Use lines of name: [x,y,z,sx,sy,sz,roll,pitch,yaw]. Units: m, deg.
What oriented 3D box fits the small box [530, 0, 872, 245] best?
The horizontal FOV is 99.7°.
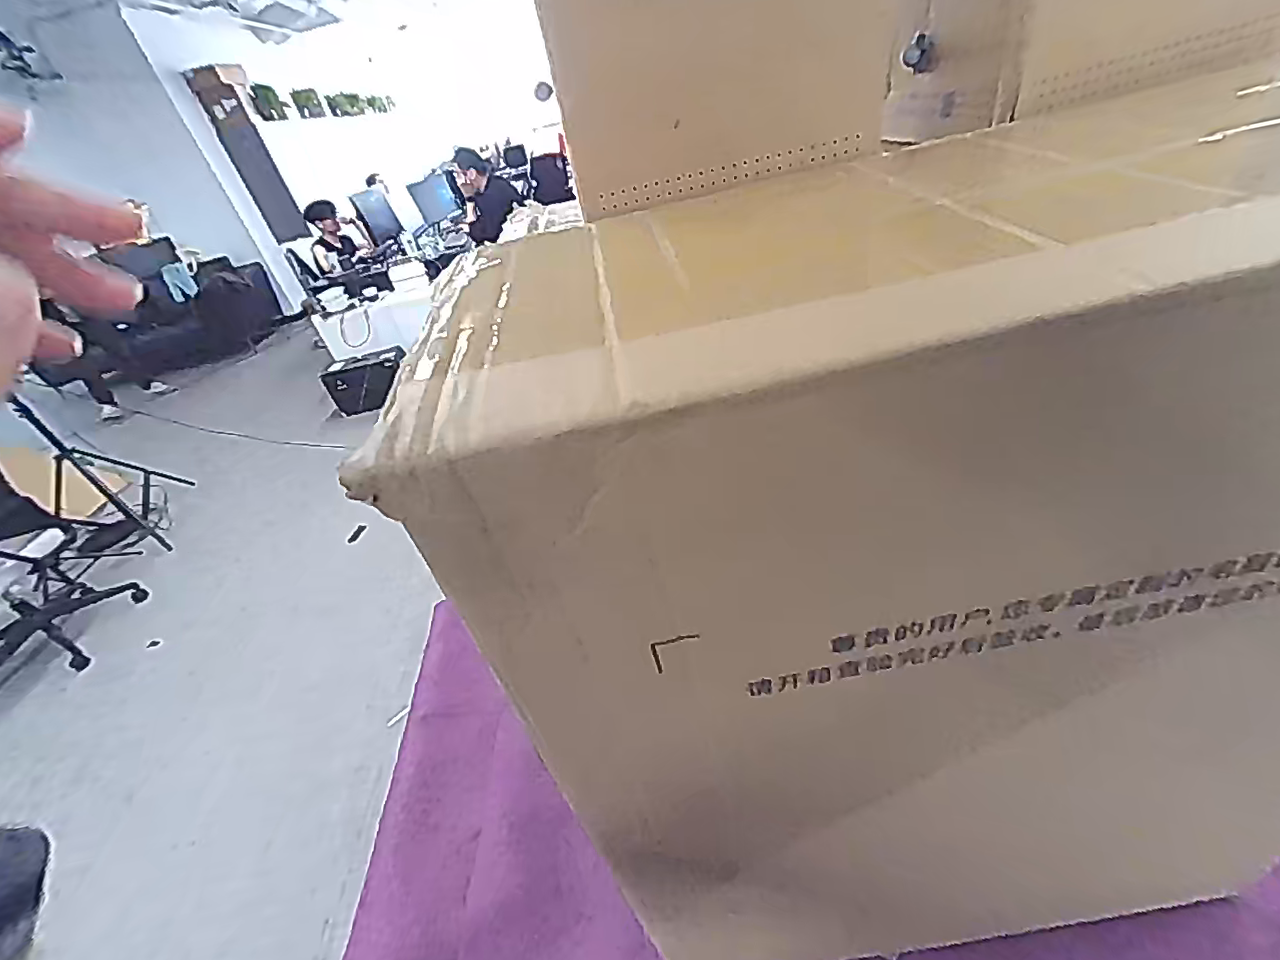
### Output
small box: [0.031,-0.261,0.337,0.179,0.176,0.168,-11,37,1]
